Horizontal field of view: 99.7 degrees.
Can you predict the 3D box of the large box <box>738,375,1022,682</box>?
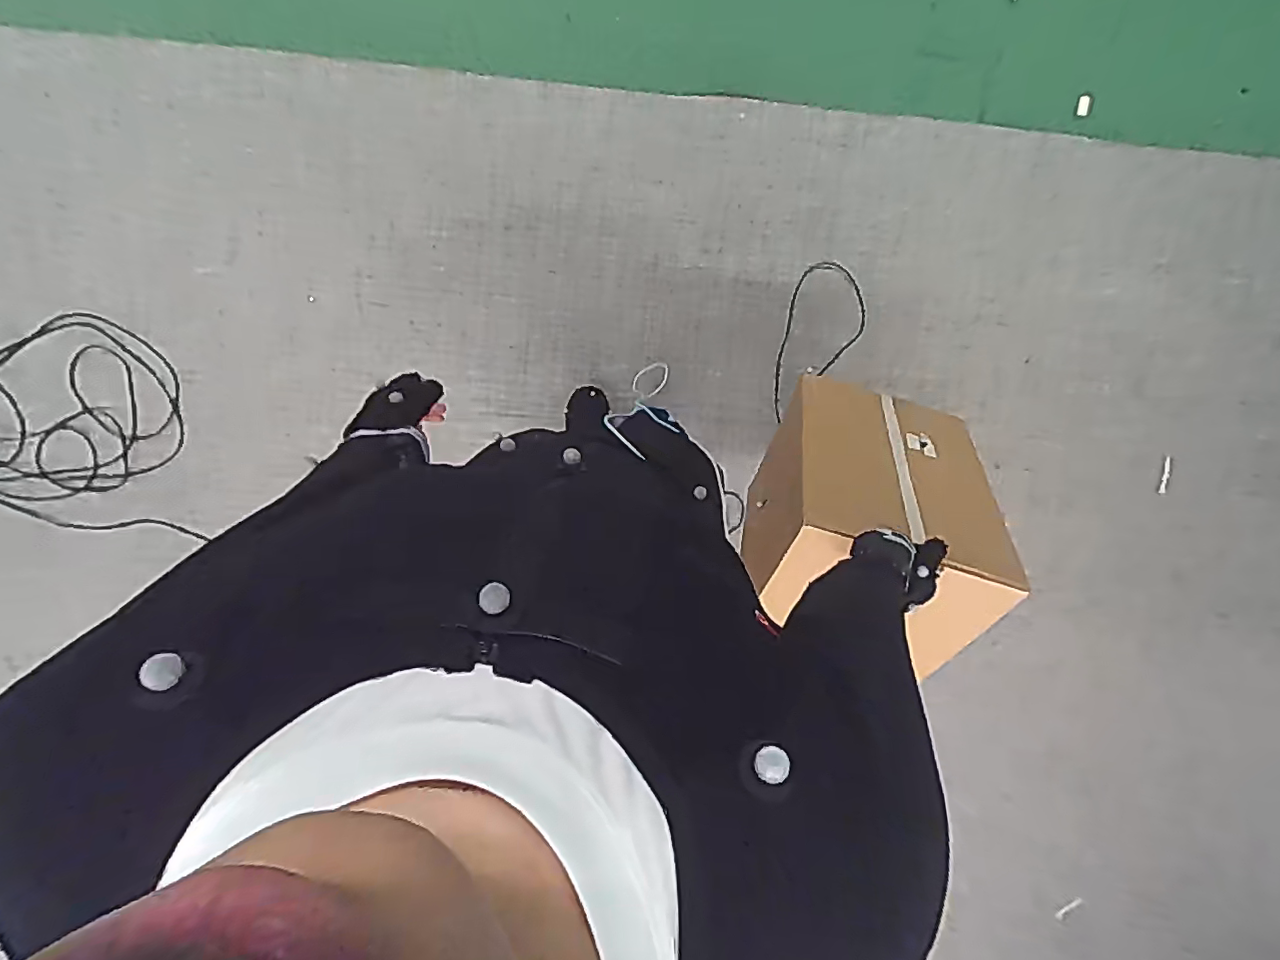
[{"bbox_3d":[0.379,0.078,0.970,0.320,0.408,0.320,18,133,1],"label":"large box"}]
